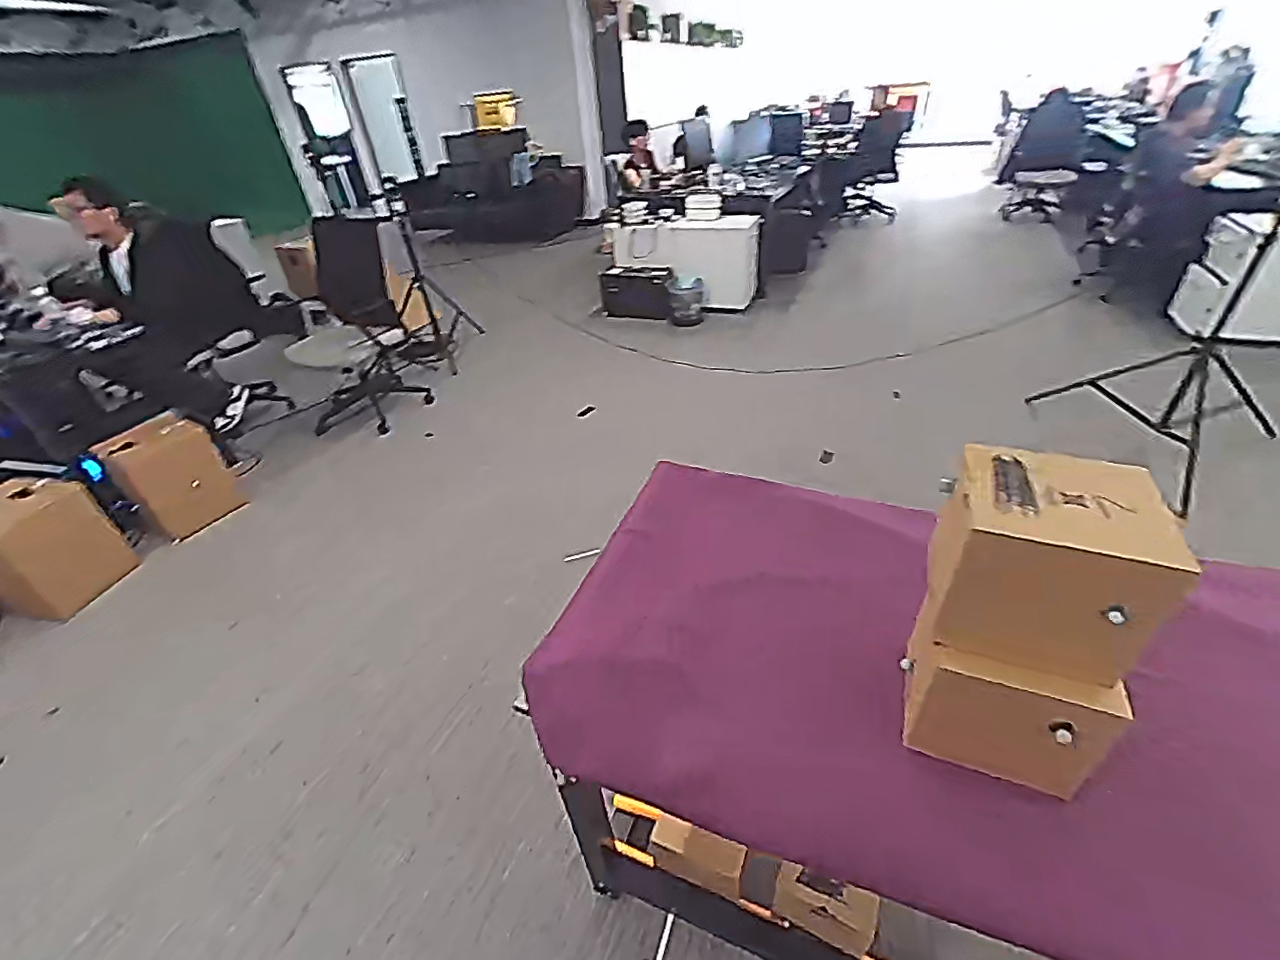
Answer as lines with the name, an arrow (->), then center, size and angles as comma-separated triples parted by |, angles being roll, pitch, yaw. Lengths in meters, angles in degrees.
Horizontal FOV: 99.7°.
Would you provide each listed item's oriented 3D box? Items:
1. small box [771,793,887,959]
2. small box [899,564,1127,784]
small box -> 0.352, 0.747, 1.021 | 0.168, 0.176, 0.179 | 15, 41, 25
small box -> 0.432, 0.234, 0.659 | 0.179, 0.176, 0.168 | 11, 37, 21
